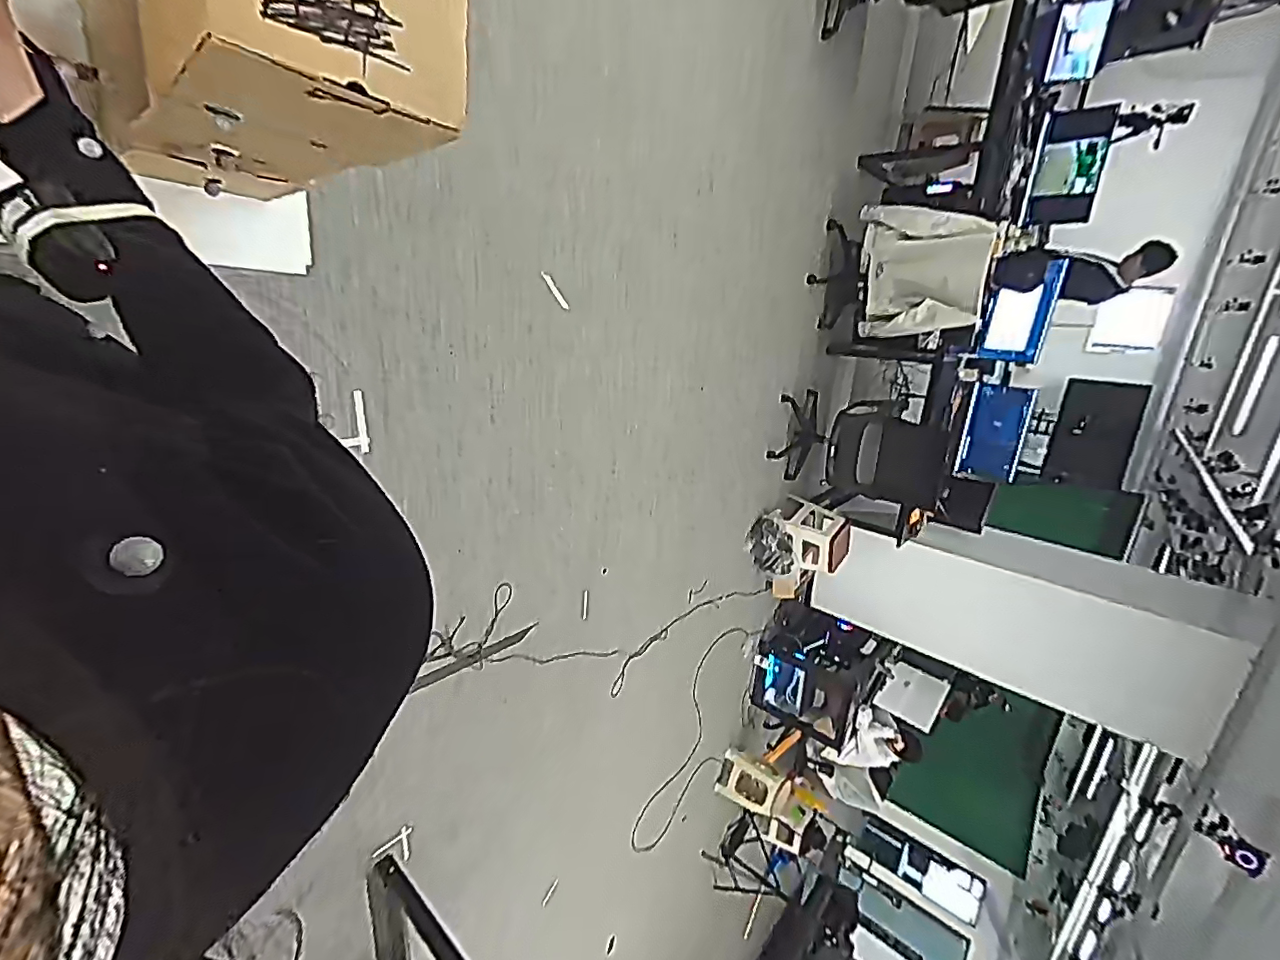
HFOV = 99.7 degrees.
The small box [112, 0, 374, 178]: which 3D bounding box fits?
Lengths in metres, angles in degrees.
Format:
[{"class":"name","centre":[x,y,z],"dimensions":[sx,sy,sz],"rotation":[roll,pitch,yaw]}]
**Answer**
[{"class":"small box","centre":[-0.369,-0.405,0.506],"dimensions":[0.168,0.176,0.179],"rotation":[-12,114,-47]}]

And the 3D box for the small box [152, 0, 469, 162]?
[{"class":"small box","centre":[-0.245,-0.364,0.405],"dimensions":[0.168,0.176,0.179],"rotation":[-10,110,-48]}]
